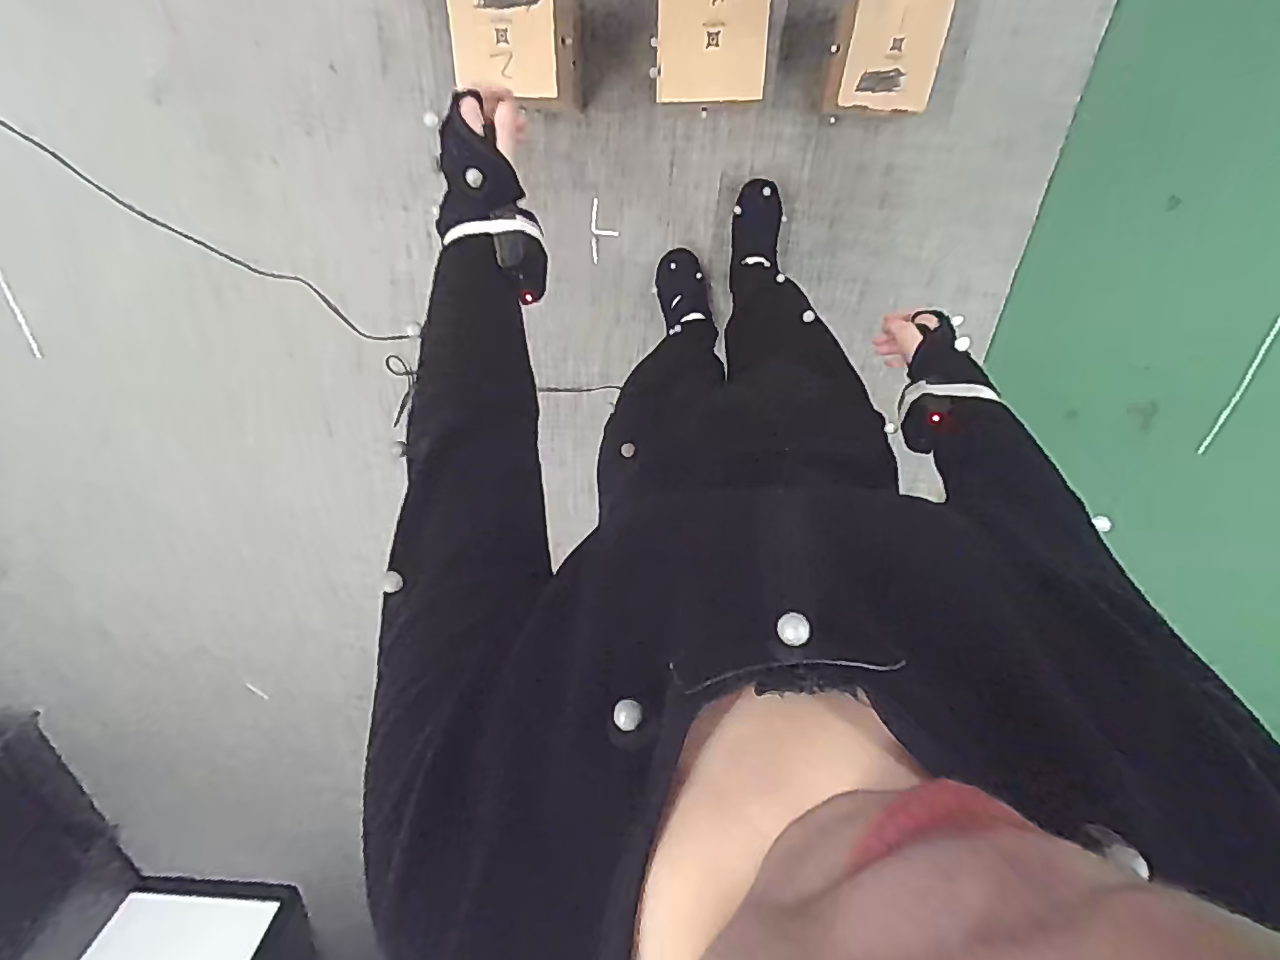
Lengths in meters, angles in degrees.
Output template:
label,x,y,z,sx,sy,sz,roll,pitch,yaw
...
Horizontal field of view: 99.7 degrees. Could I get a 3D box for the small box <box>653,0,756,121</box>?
label,x,y,z,sx,sy,sz,roll,pitch,yaw
small box,0.119,-0.806,1.051,0.179,0.176,0.168,2,119,2

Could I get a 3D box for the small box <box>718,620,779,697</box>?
label,x,y,z,sx,sy,sz,roll,pitch,yaw
small box,0.349,0.583,1.778,0.168,0.176,0.179,3,119,3
